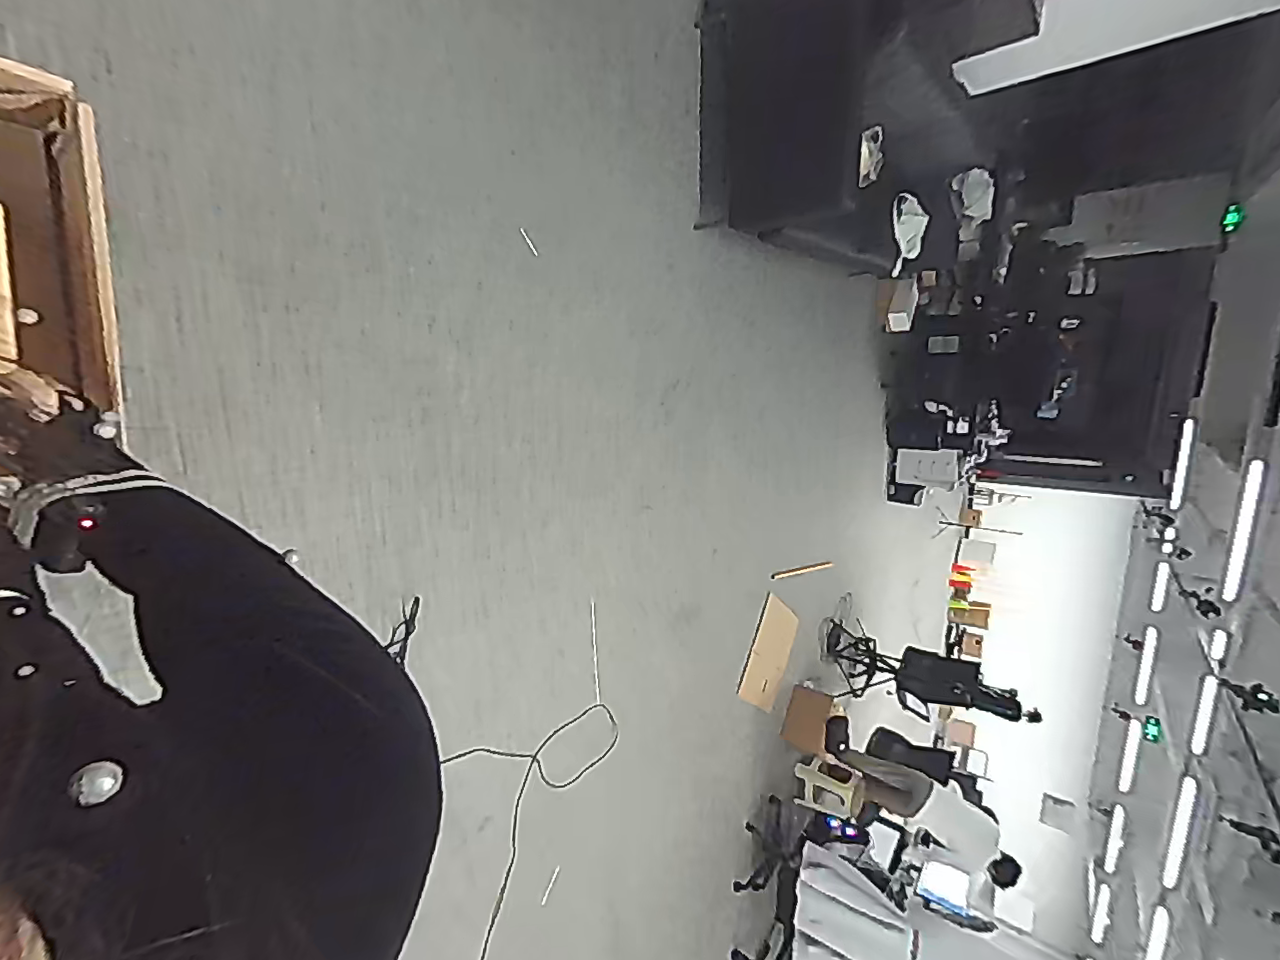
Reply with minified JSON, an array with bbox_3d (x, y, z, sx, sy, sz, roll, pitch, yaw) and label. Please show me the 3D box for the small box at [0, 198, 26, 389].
[{"bbox_3d":[-0.698,-0.176,0.492,0.168,0.176,0.179,-7,103,-51],"label":"small box"}]
